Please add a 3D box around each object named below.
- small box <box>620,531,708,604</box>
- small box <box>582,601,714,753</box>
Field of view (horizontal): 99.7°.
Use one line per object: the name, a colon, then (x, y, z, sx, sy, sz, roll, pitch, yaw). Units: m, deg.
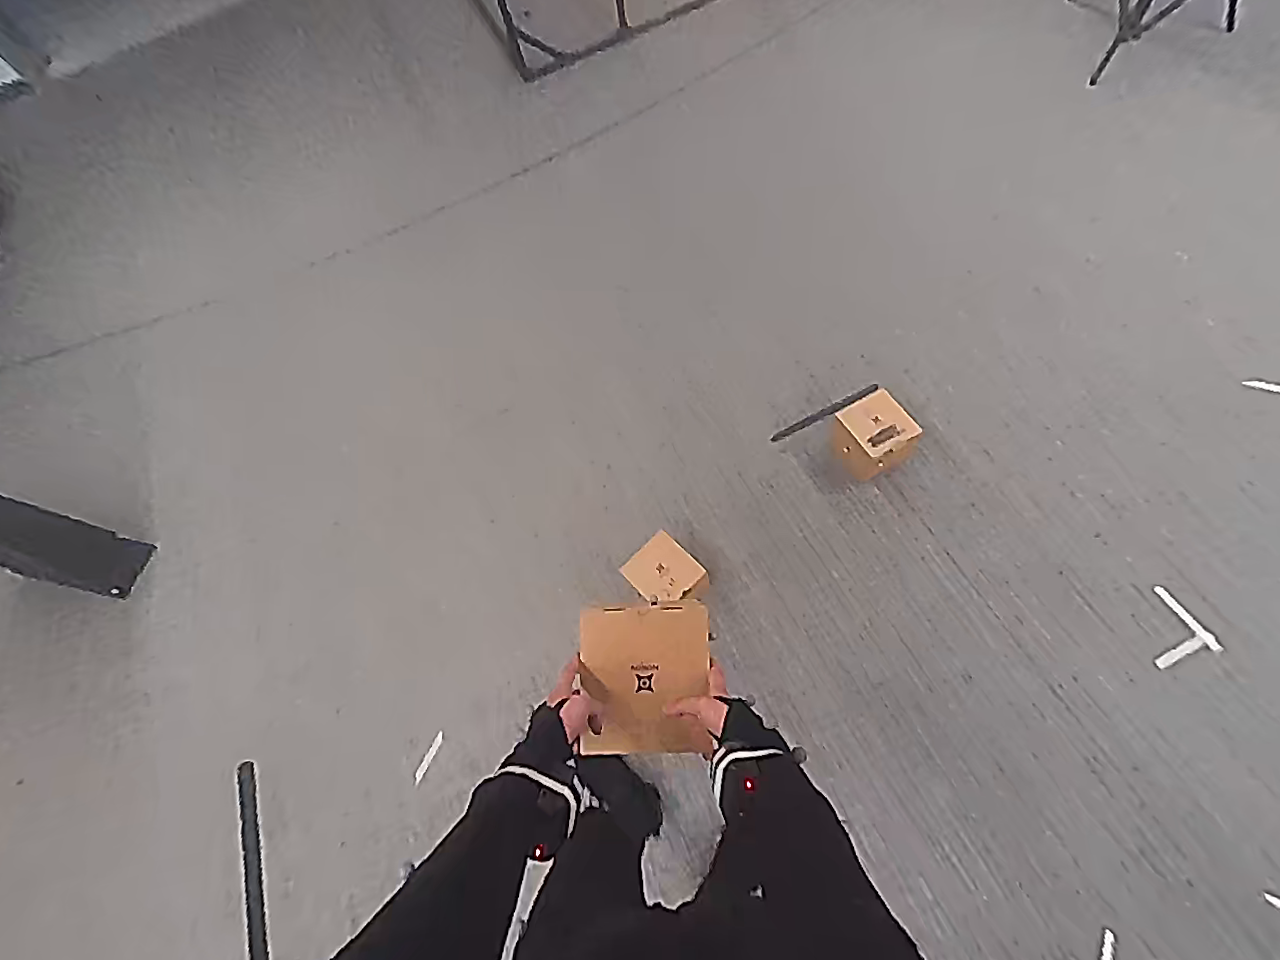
small box: (0.072, 0.278, 1.501, 0.168, 0.176, 0.179, -43, 65, -11)
small box: (0.014, 0.261, 0.752, 0.168, 0.176, 0.179, -2, 78, 2)
